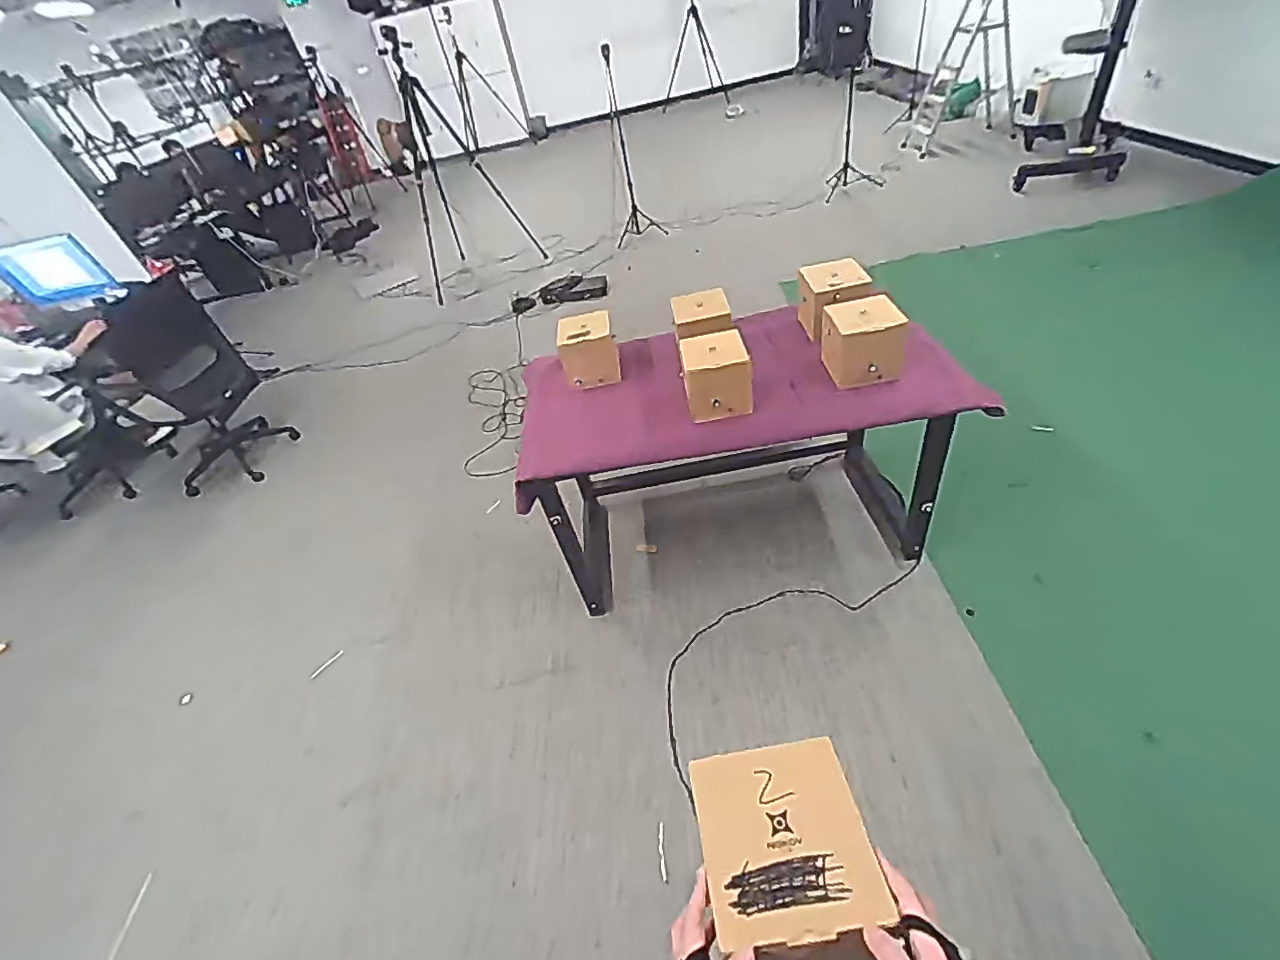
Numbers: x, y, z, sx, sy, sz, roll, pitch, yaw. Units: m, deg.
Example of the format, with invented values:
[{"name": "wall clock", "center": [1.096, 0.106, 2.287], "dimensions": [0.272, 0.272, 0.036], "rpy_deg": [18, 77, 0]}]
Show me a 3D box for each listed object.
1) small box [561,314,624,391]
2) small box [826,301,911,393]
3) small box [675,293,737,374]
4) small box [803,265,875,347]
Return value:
[{"name": "small box", "center": [-0.147, -0.398, 1.716], "dimensions": [0.168, 0.176, 0.179], "rpy_deg": [-10, 42, 4]}, {"name": "small box", "center": [0.607, -0.357, 1.458], "dimensions": [0.168, 0.176, 0.179], "rpy_deg": [-9, 41, 7]}, {"name": "small box", "center": [0.206, -0.454, 1.683], "dimensions": [0.168, 0.176, 0.179], "rpy_deg": [-10, 43, 6]}, {"name": "small box", "center": [0.600, -0.532, 1.654], "dimensions": [0.168, 0.176, 0.179], "rpy_deg": [-10, 42, 5]}]
